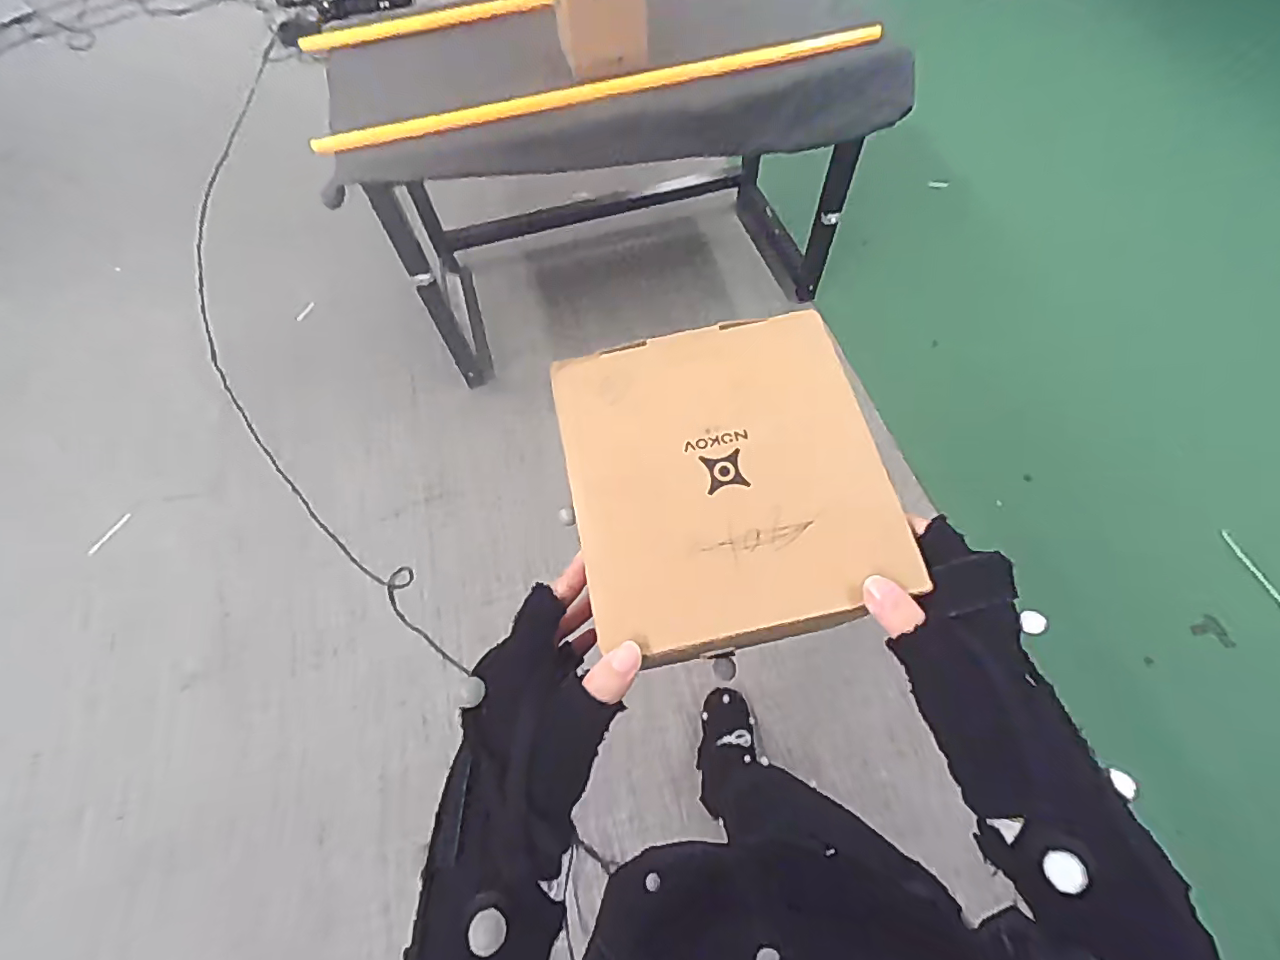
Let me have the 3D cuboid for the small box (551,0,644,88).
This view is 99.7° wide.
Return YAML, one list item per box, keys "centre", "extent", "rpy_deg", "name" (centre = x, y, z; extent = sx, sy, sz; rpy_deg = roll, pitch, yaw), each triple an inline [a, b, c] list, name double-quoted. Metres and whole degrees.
- centre: [-0.093, -0.978, 1.153]
  extent: [0.168, 0.176, 0.179]
  rpy_deg: [-16, 62, -5]
  name: "small box"

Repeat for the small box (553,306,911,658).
- centre: [0.044, 0.015, 0.375]
  extent: [0.168, 0.176, 0.179]
  rpy_deg: [-12, 69, -2]
  name: "small box"
